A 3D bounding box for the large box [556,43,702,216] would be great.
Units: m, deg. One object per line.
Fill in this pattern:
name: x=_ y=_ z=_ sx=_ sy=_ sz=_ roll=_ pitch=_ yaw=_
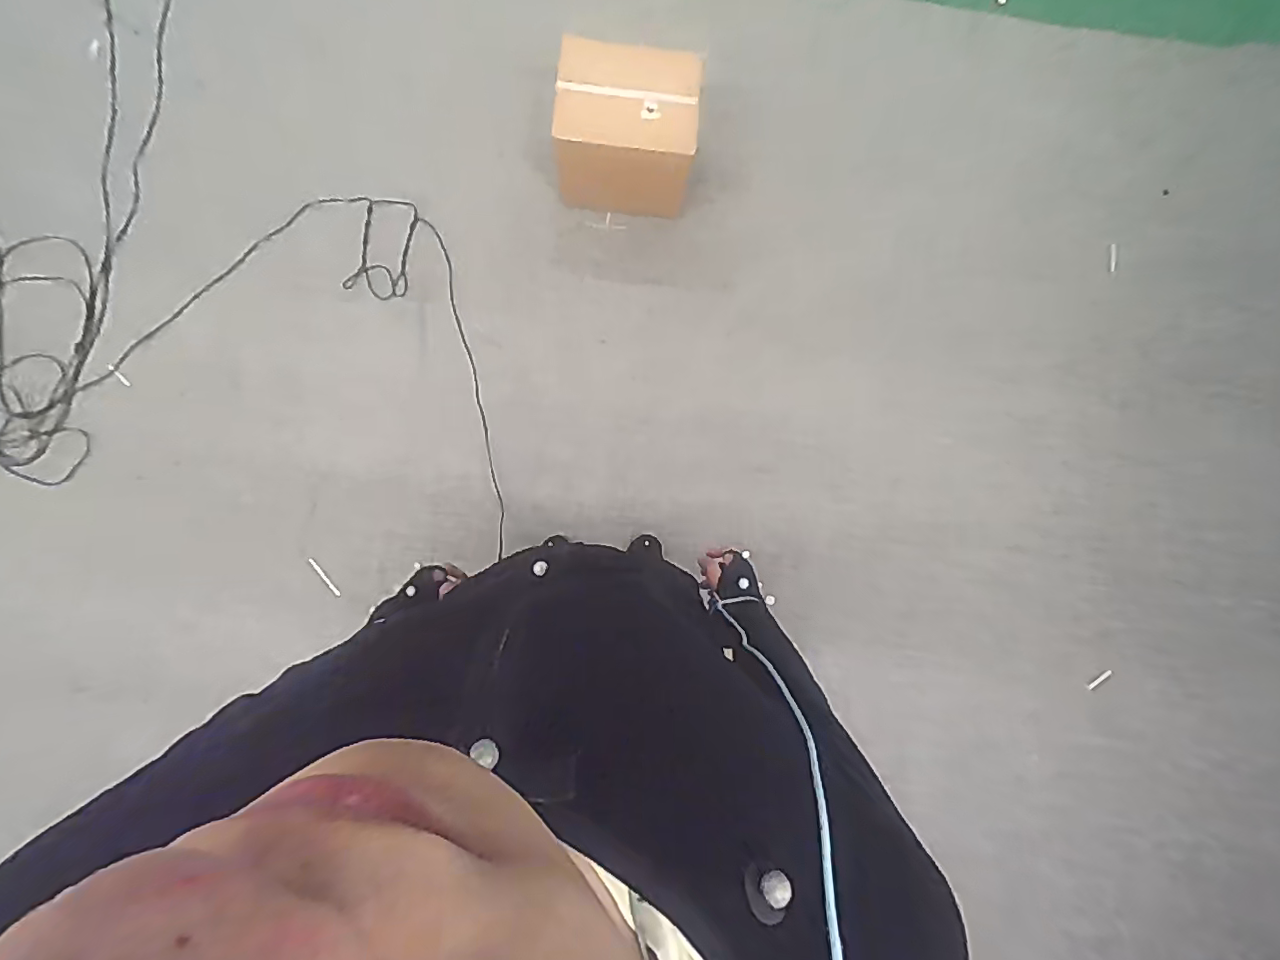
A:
large box: x=-0.040 y=-1.058 z=1.668 sx=0.408 sy=0.320 sz=0.320 roll=5 pitch=83 yaw=-3
